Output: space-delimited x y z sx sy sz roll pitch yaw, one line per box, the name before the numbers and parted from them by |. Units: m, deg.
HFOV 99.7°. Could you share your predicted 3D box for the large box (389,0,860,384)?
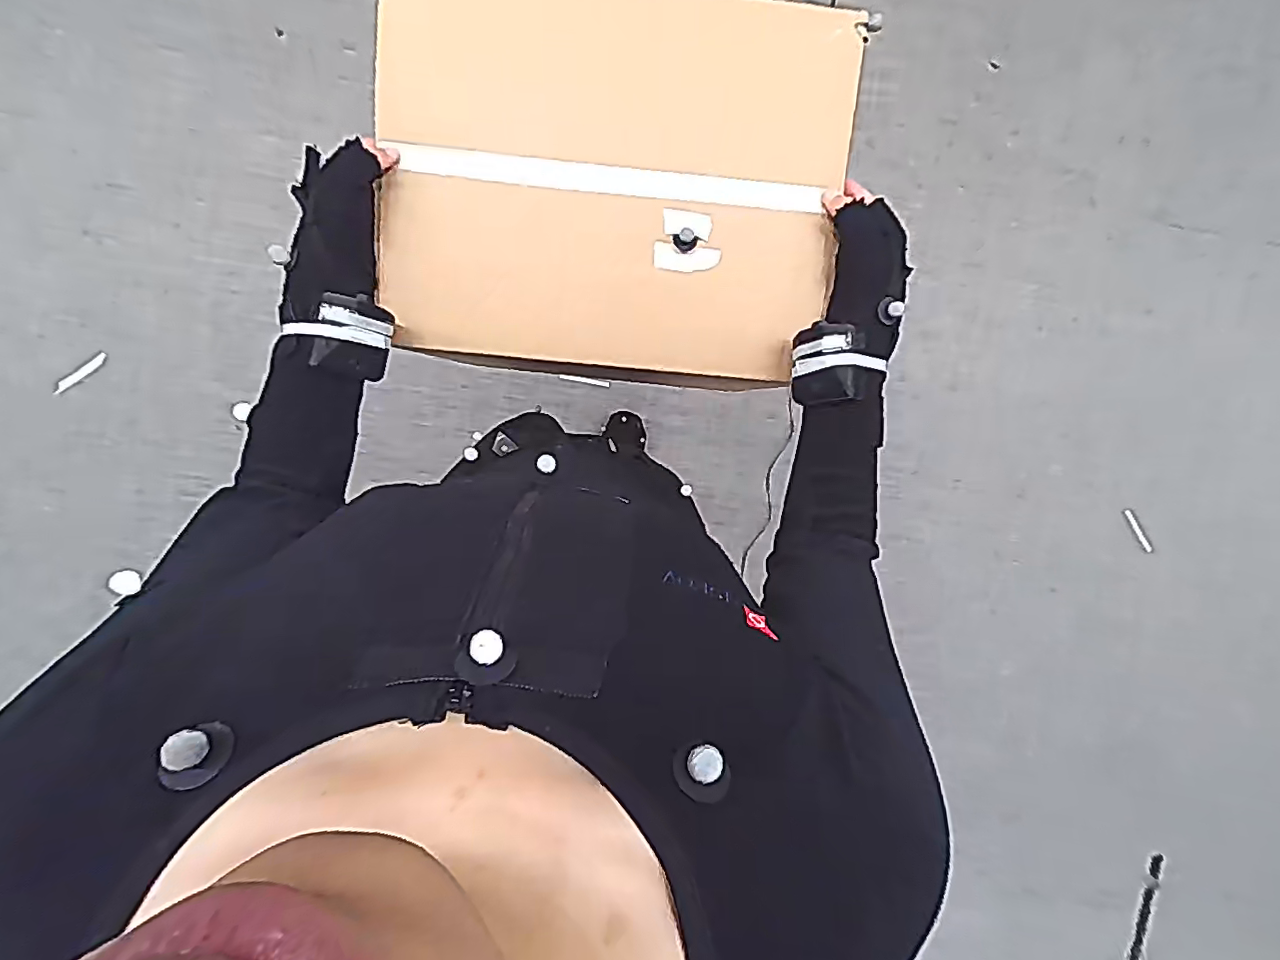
large box | -0.026 -0.286 0.622 0.408 0.320 0.320 5 98 -4
